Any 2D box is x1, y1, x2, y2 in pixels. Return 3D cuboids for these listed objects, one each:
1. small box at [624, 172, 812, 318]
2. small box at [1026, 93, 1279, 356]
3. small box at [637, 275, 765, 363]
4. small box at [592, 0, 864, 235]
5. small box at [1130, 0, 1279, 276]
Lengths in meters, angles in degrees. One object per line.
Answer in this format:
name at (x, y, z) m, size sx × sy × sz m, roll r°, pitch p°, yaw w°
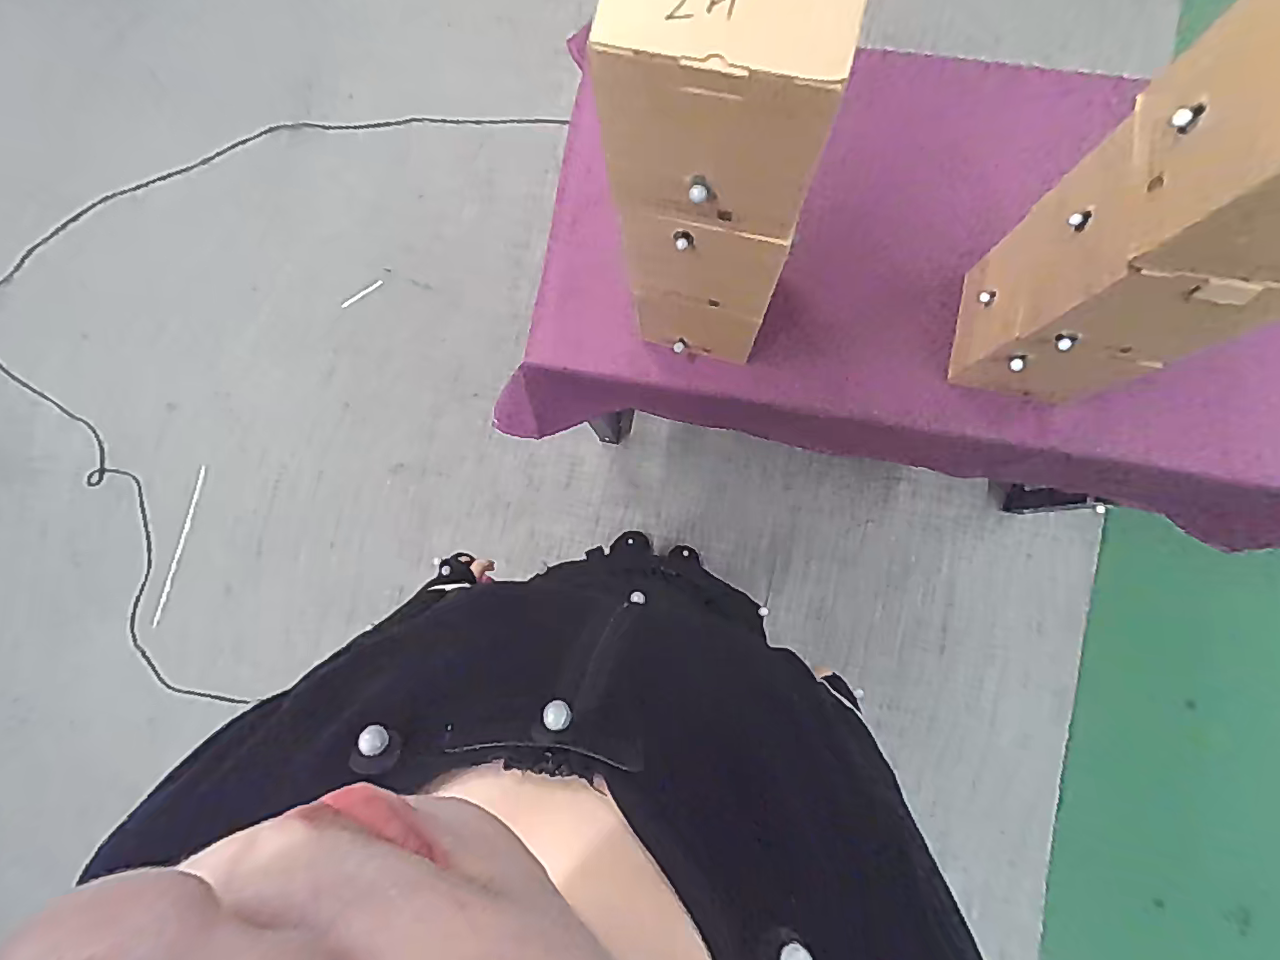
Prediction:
small box at (0.090, -0.307, 0.589) m, size 0.168 × 0.176 × 0.179 m, roll 15°, pitch 83°, yaw 7°
small box at (0.533, -0.243, 0.552) m, size 0.168 × 0.176 × 0.179 m, roll 10°, pitch 83°, yaw 5°
small box at (0.101, -0.287, 0.752) m, size 0.168 × 0.176 × 0.179 m, roll 16°, pitch 85°, yaw 6°
small box at (0.072, -0.332, 0.427) m, size 0.168 × 0.176 × 0.179 m, roll 14°, pitch 84°, yaw 6°
small box at (0.520, -0.265, 0.392) m, size 0.179 × 0.176 × 0.168 m, roll 9°, pitch 83°, yaw 6°
